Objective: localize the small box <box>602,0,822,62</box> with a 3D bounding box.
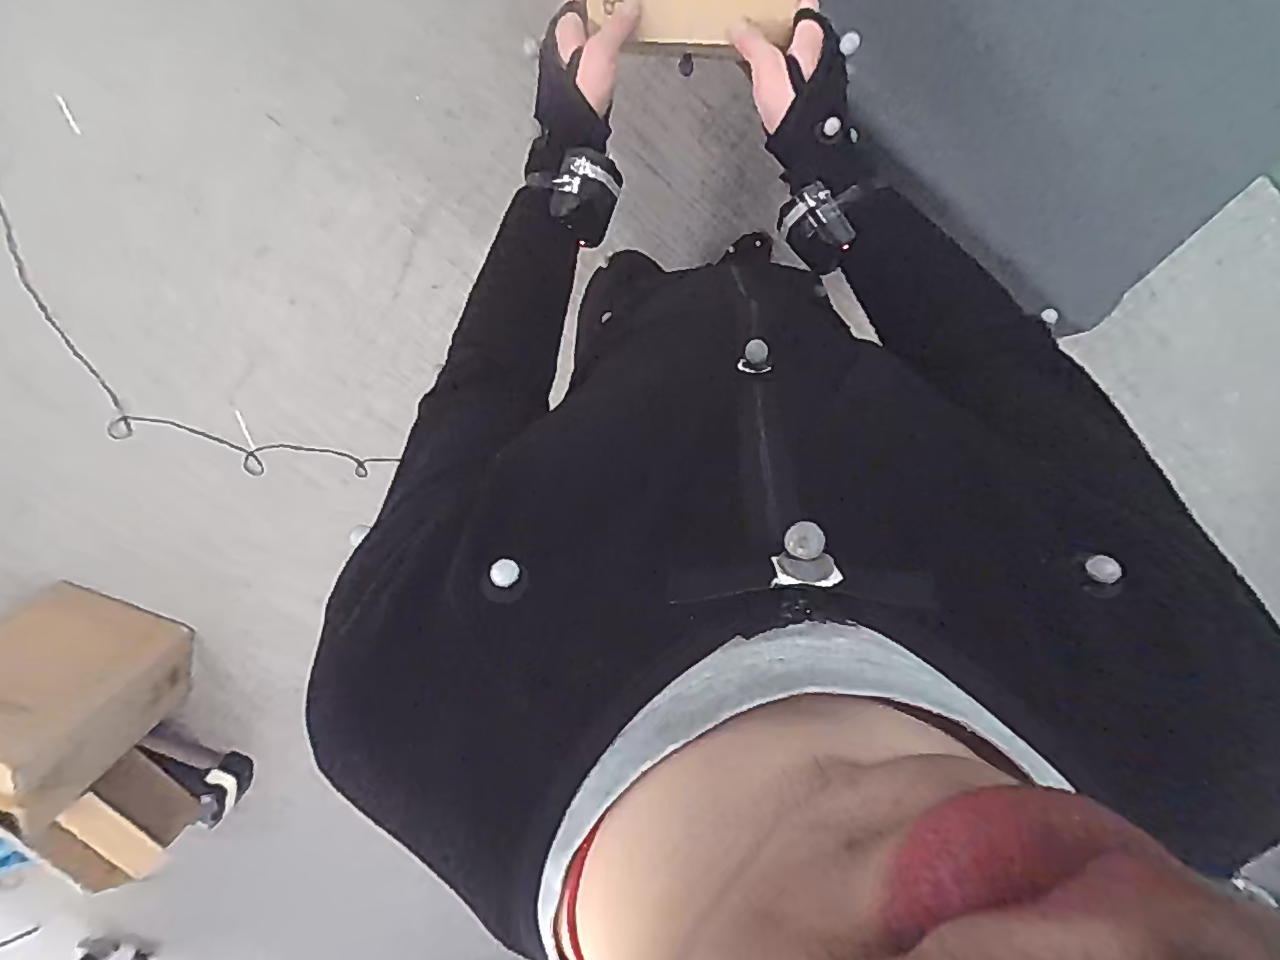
[{"bbox_3d":[0.059,-0.468,0.459,0.179,0.176,0.168,2,123,-2],"label":"small box"}]
